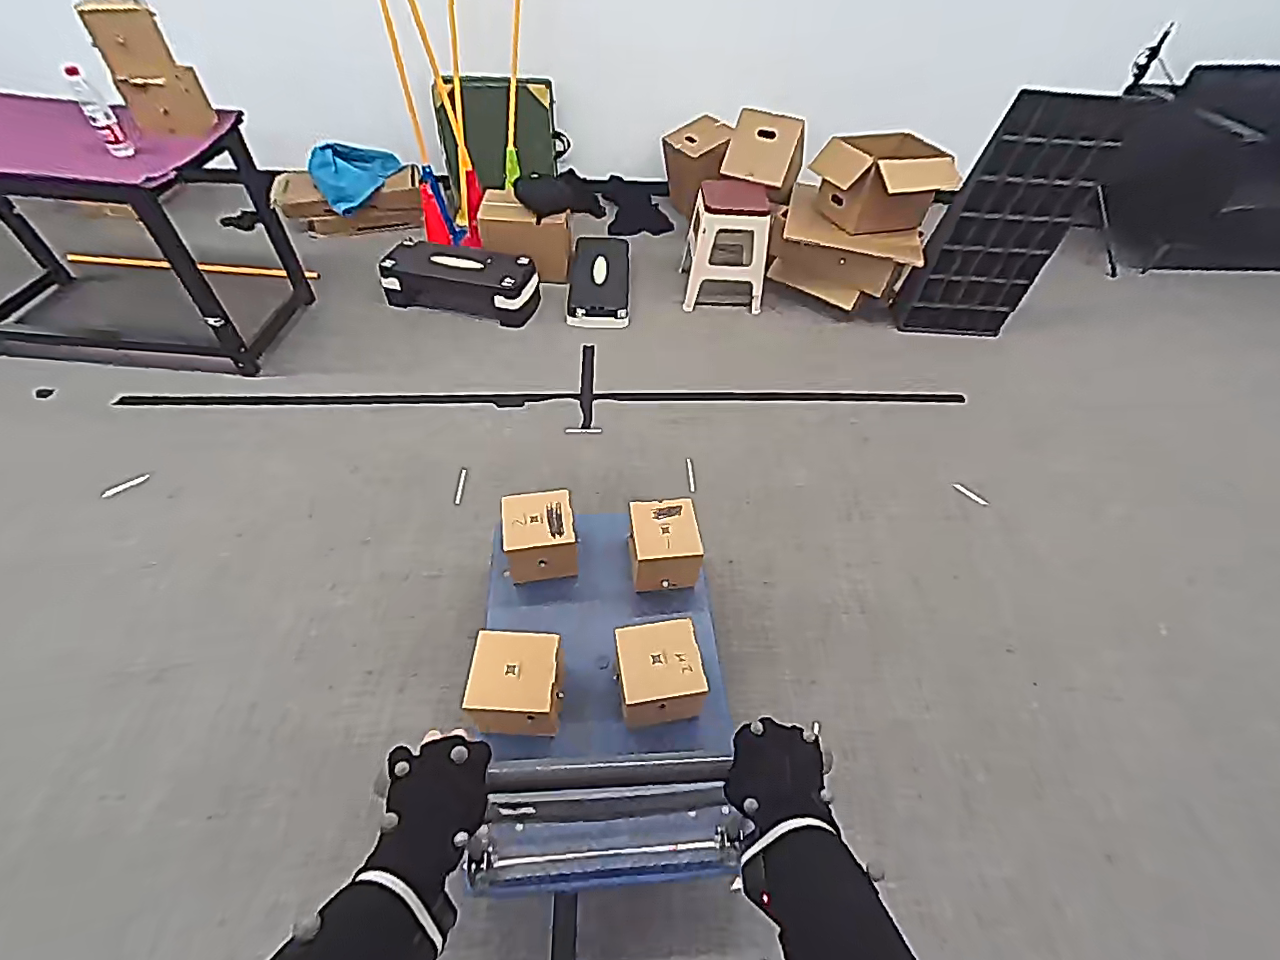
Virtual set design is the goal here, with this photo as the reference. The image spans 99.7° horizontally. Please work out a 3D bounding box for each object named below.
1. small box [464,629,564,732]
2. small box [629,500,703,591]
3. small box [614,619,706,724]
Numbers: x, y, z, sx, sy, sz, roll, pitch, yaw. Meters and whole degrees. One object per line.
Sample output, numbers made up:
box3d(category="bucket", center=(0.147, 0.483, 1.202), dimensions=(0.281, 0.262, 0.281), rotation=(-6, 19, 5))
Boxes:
box3d(category="small box", center=(-0.267, 0.444, 1.189), dimensions=(0.179, 0.176, 0.168), rotation=(4, 50, -2))
box3d(category="small box", center=(0.061, 0.174, 1.432), dimensions=(0.168, 0.176, 0.179), rotation=(-4, 52, -7))
box3d(category="small box", center=(0.039, 0.434, 1.216), dimensions=(0.179, 0.176, 0.168), rotation=(-6, 51, -8))
